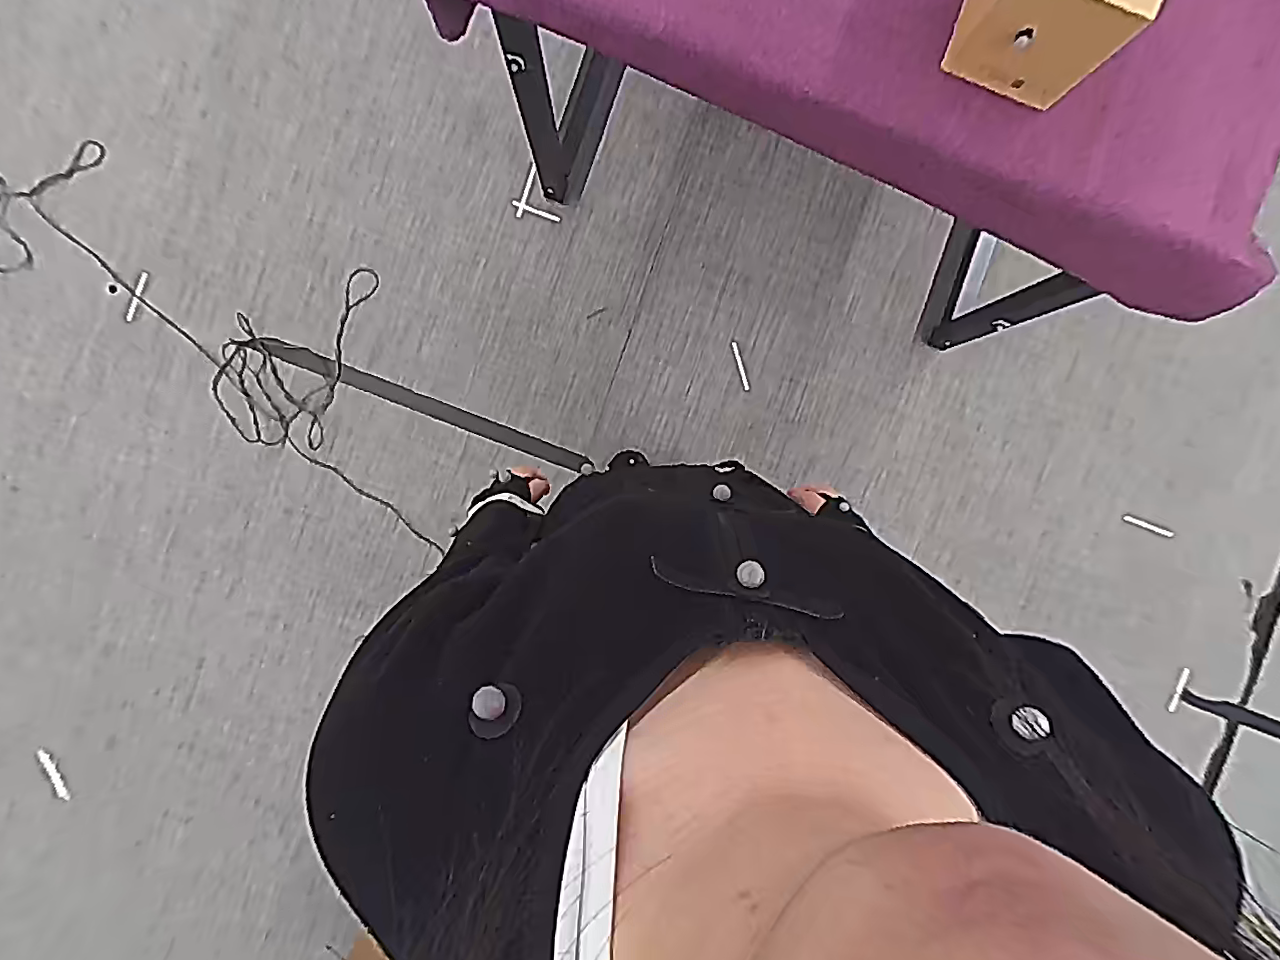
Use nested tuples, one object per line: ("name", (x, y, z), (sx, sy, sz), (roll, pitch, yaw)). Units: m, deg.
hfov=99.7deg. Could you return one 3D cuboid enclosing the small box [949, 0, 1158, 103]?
("small box", (0.536, -0.637, 0.692), (0.168, 0.176, 0.179), (20, 90, -2))
